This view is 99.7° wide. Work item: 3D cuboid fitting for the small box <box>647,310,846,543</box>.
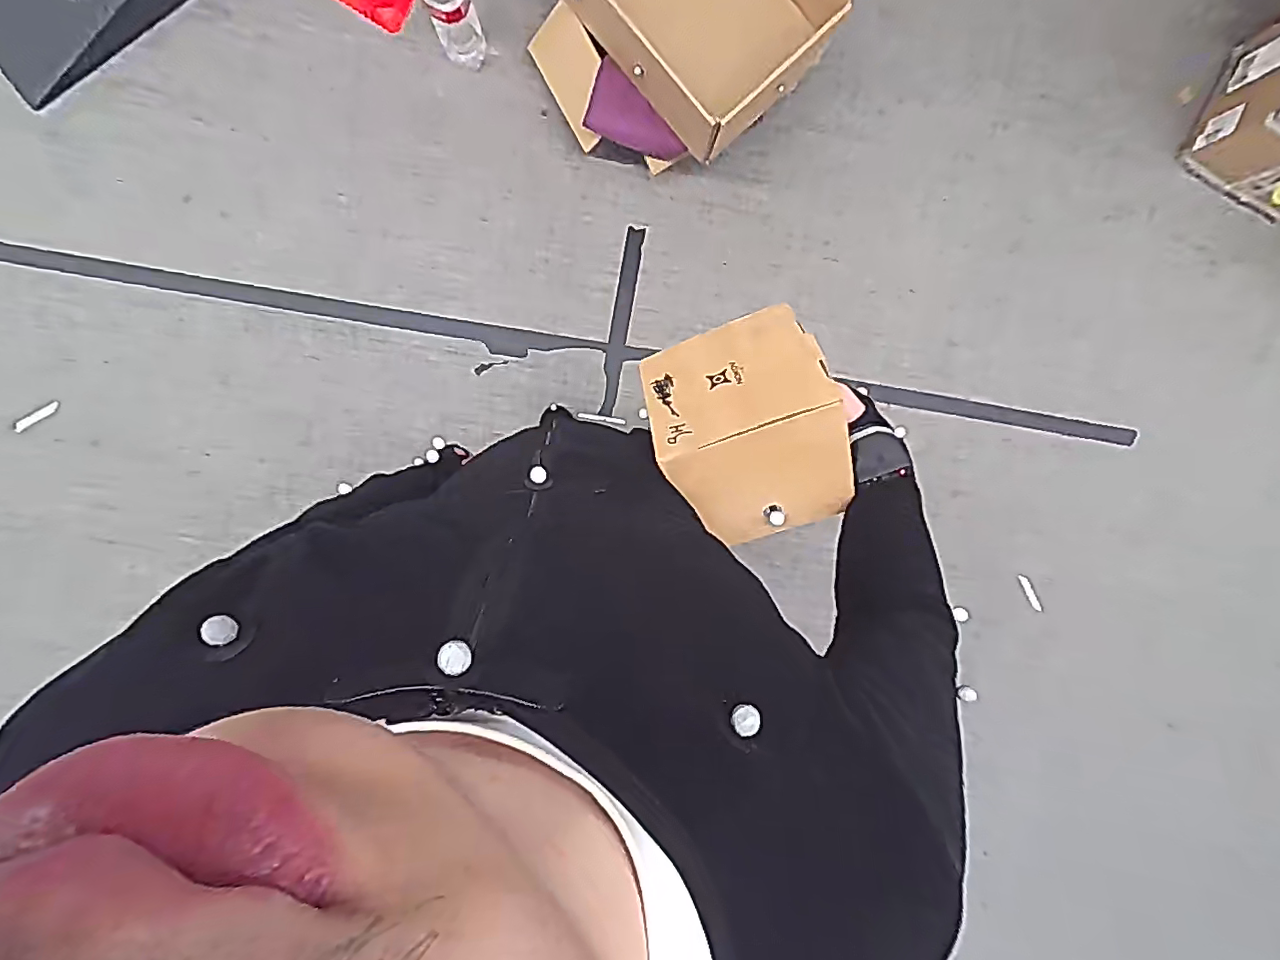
[{"bbox_3d":[0.123,-0.055,0.617,0.179,0.168,0.176,-18,136,11],"label":"small box"}]
